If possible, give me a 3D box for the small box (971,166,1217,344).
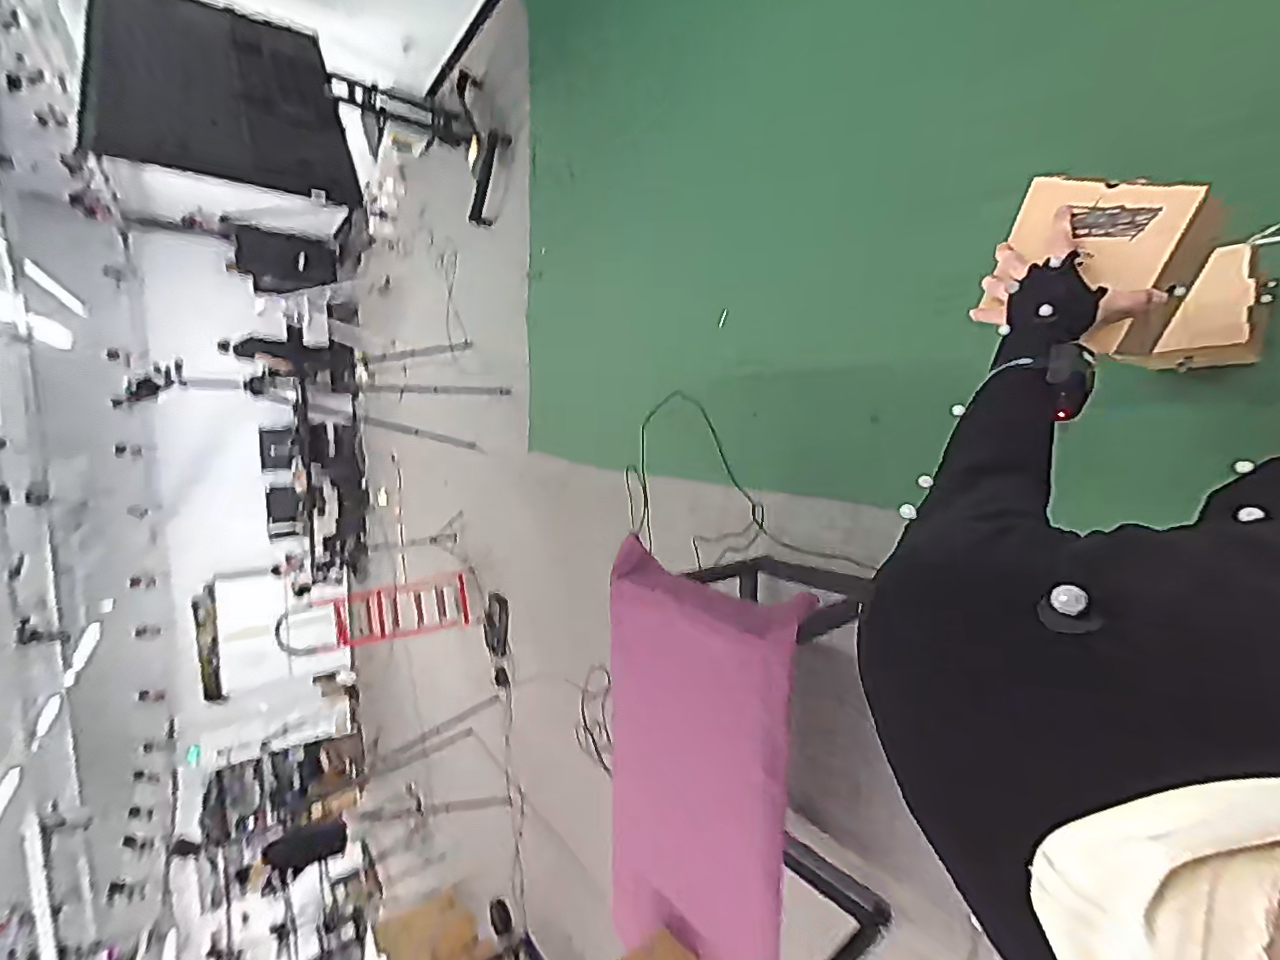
[{"bbox_3d":[0.573,-0.280,0.687,0.168,0.176,0.179,39,128,44],"label":"small box"}]

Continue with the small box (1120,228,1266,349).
[{"bbox_3d":[1.017,-0.341,0.999,0.179,0.176,0.168,4,97,53],"label":"small box"}]

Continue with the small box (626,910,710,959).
[{"bbox_3d":[0.080,1.364,1.516,0.179,0.176,0.168,0,95,53],"label":"small box"}]

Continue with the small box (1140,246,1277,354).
[{"bbox_3d":[1.150,-0.351,1.094,0.168,0.176,0.179,8,99,53],"label":"small box"}]
